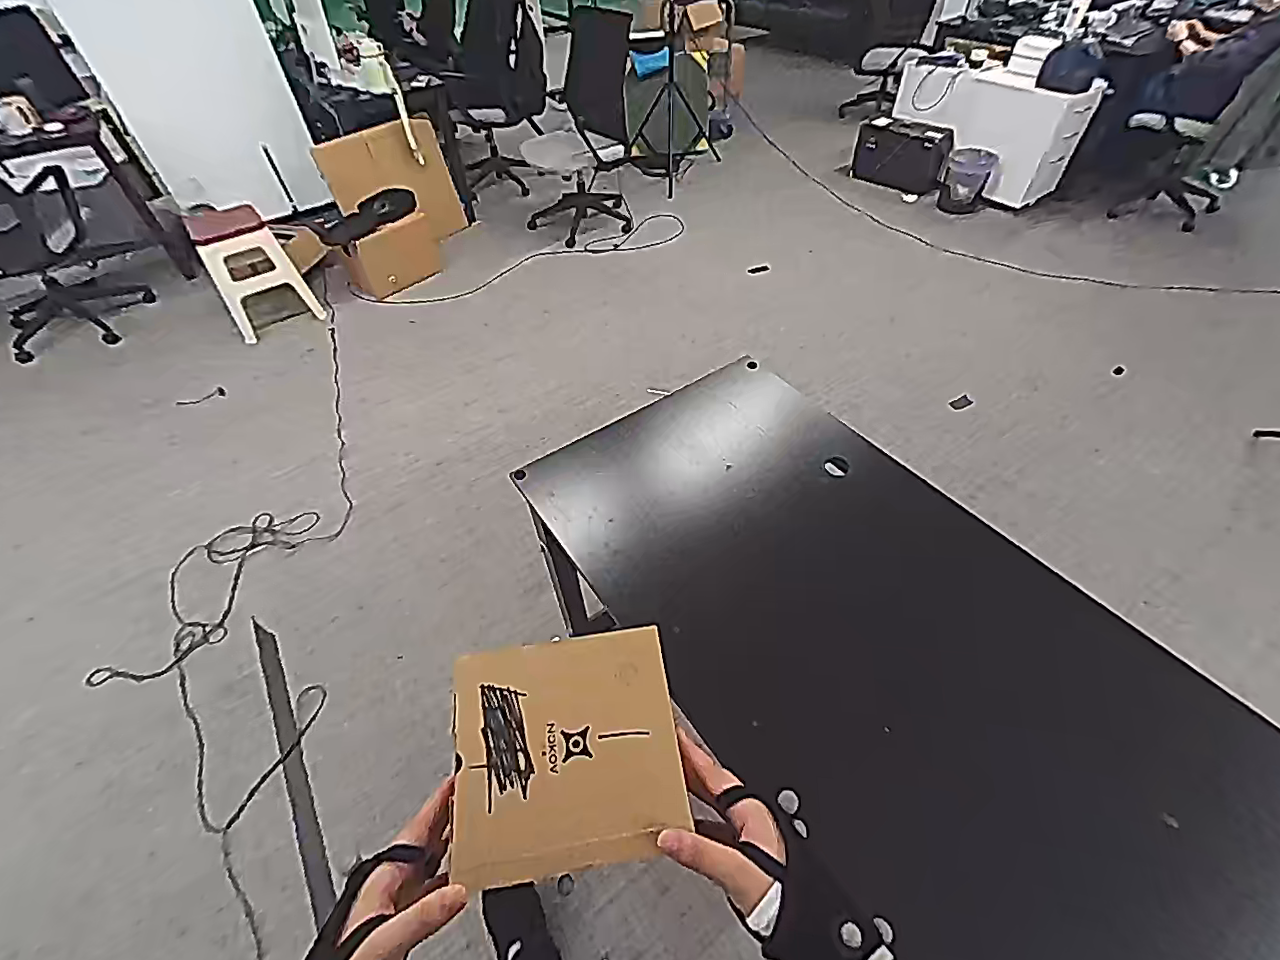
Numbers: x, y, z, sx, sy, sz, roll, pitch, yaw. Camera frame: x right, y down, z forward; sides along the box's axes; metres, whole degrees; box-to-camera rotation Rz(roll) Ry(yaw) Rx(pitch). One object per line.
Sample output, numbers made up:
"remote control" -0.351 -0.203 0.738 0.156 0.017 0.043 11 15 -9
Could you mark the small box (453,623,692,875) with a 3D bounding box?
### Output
"small box" -0.058 0.249 0.497 0.179 0.176 0.168 -7 57 -6
